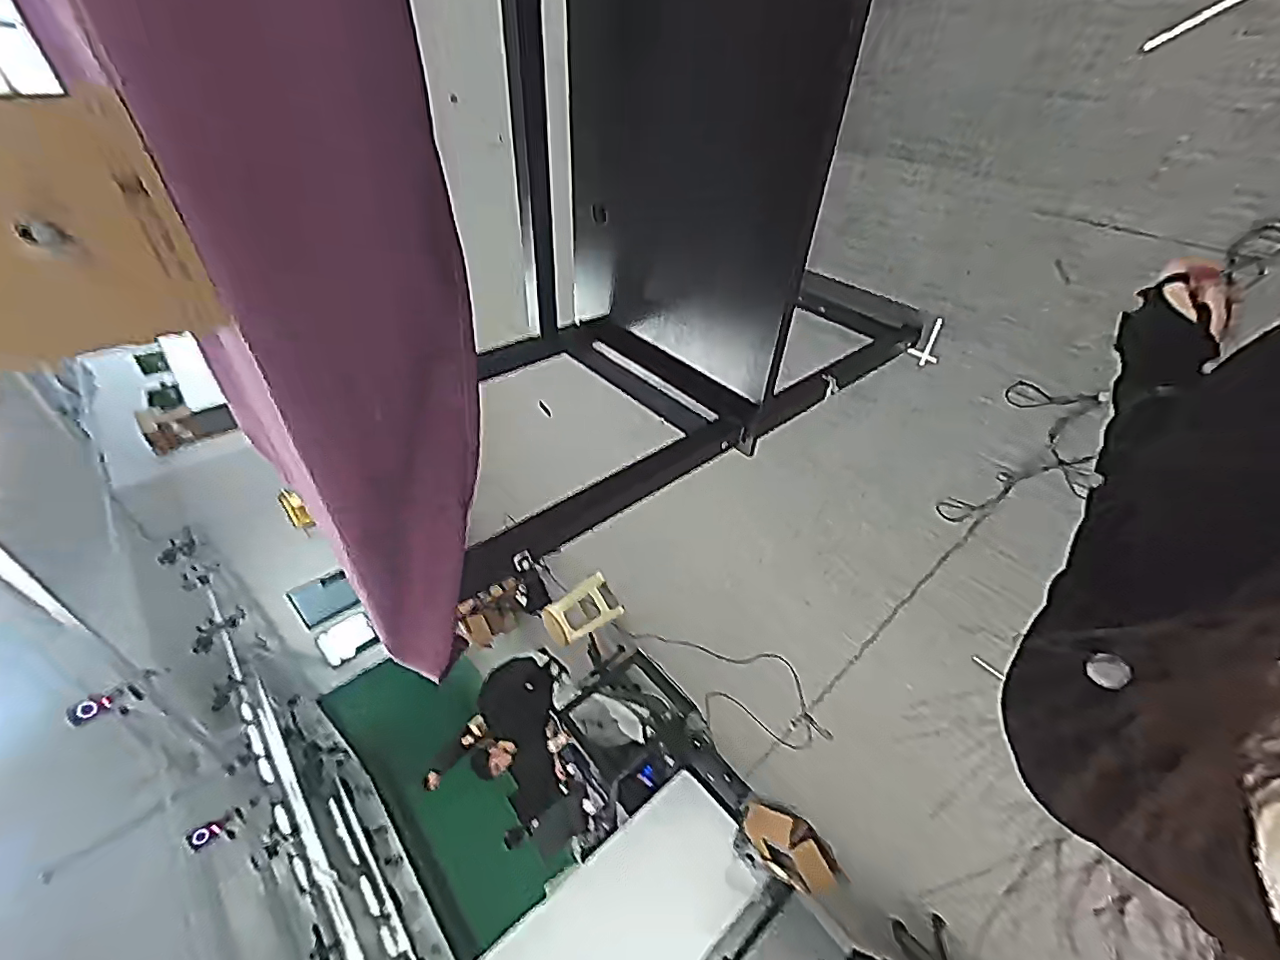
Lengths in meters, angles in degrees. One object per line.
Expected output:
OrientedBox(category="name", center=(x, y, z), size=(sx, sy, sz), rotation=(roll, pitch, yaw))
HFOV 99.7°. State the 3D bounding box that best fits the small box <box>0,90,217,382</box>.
OrientedBox(category="small box", center=(-0.465, -0.190, 0.416), size=(0.179, 0.176, 0.168), rotation=(29, 135, 42))
